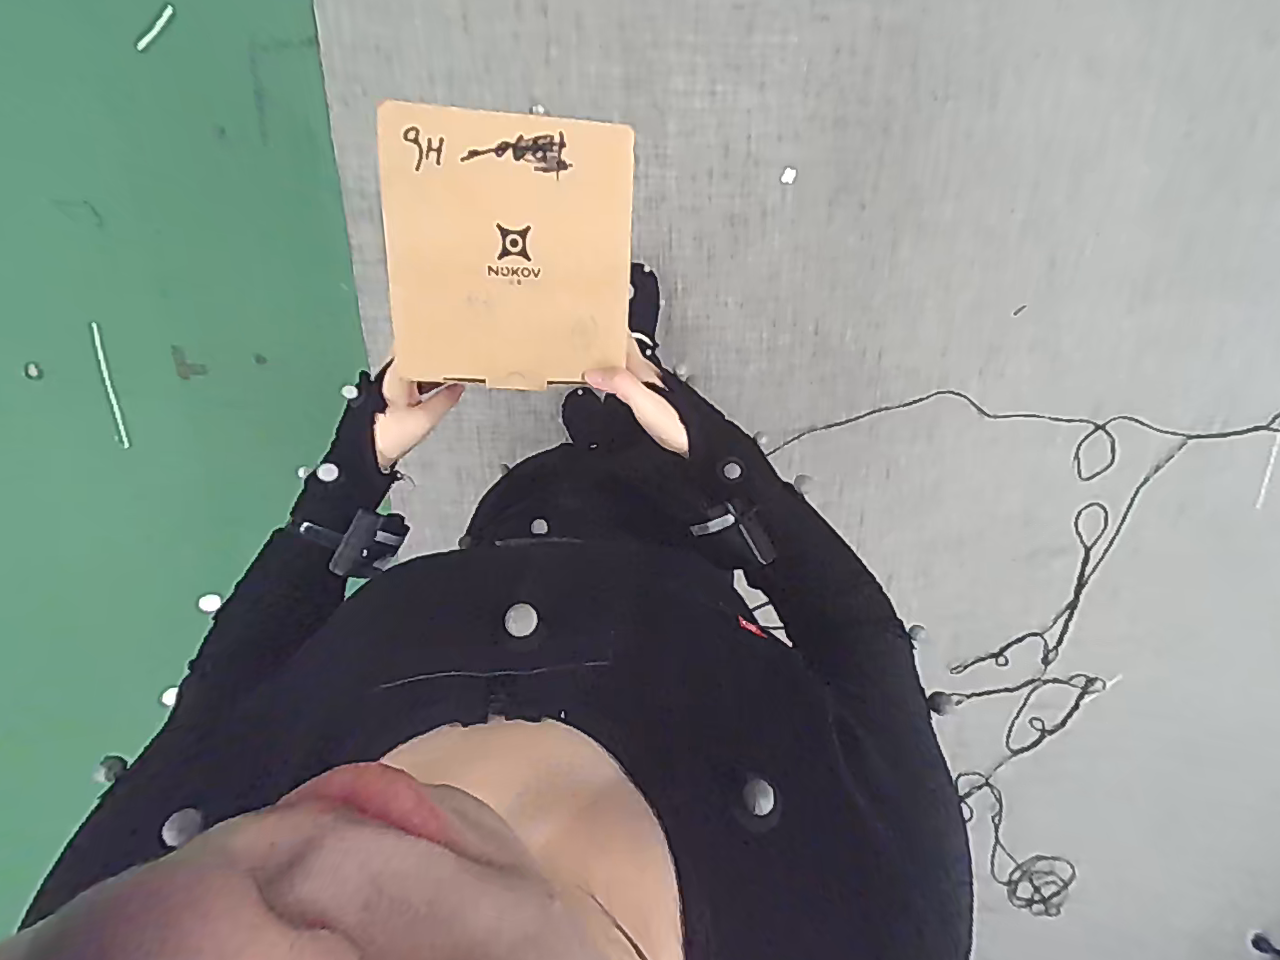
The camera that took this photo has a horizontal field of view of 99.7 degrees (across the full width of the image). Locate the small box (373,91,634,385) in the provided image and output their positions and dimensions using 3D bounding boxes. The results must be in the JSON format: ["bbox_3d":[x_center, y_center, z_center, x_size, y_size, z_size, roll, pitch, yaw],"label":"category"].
[{"bbox_3d":[-0.100,-0.180,0.444,0.168,0.176,0.179,0,107,-10],"label":"small box"}]
